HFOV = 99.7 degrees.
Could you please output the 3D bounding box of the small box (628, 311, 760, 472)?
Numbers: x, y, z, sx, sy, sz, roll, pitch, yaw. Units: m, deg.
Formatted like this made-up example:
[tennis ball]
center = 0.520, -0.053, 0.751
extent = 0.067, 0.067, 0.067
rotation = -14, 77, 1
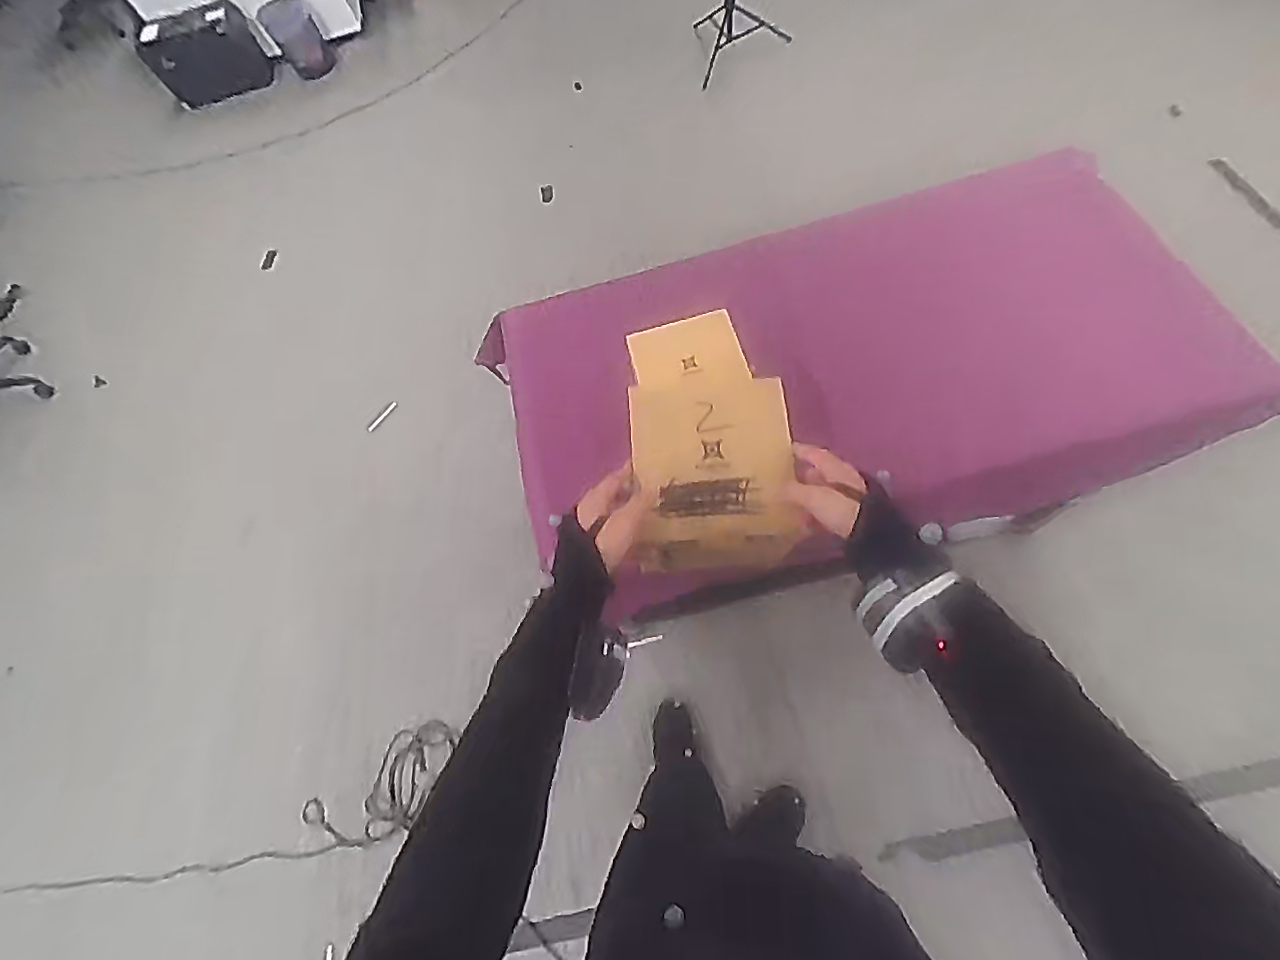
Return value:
[small box]
center = 0.086, -0.138, 0.884
extent = 0.168, 0.176, 0.179
rotation = -15, 65, 2
